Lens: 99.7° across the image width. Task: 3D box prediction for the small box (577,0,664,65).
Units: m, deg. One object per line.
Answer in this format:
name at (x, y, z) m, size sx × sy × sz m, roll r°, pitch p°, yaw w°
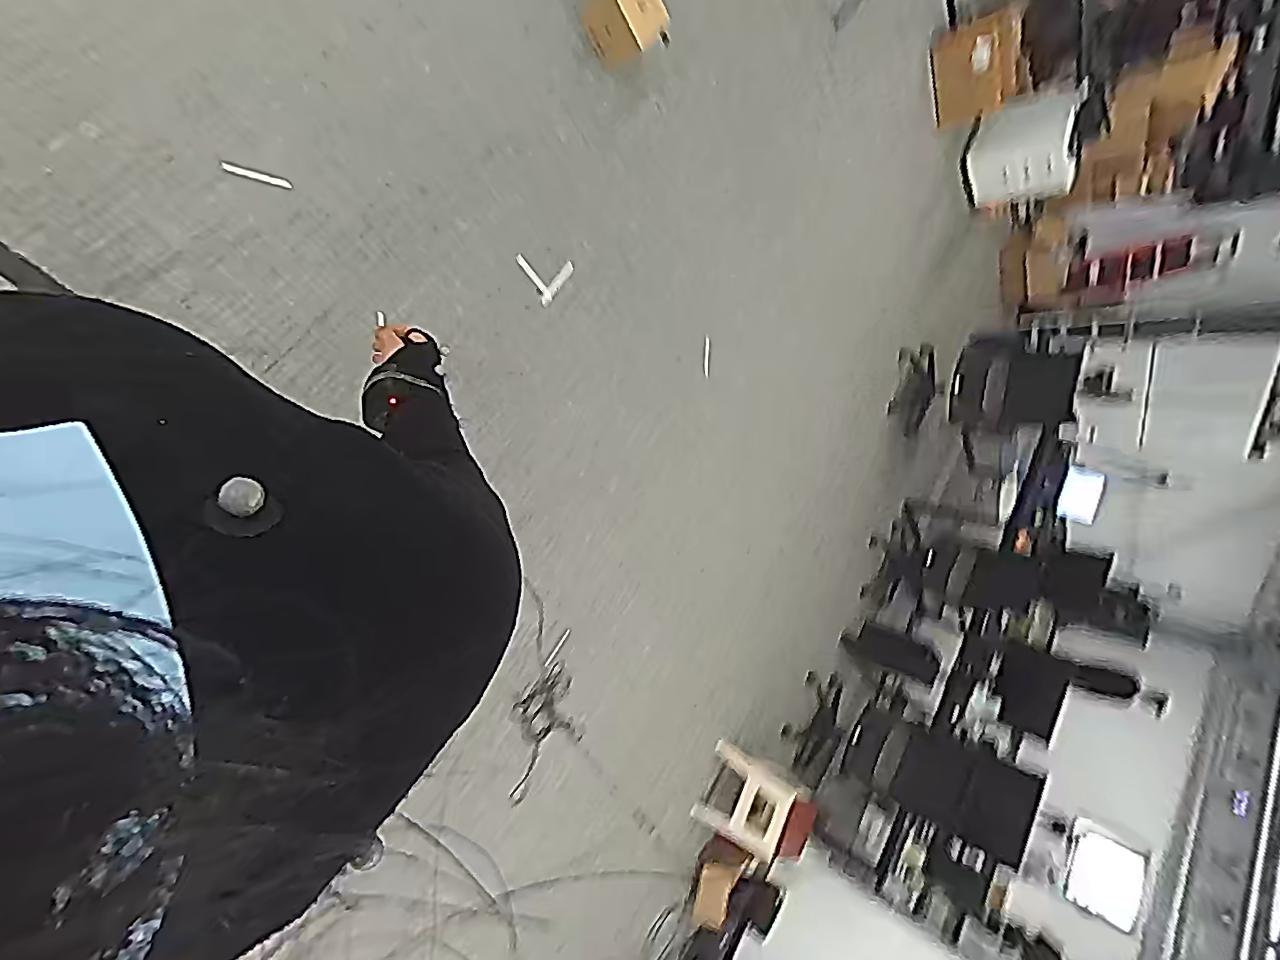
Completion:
small box at (-0.066, -1.417, 1.644) m, size 0.168 × 0.176 × 0.179 m, roll 47°, pitch 66°, yaw -40°
